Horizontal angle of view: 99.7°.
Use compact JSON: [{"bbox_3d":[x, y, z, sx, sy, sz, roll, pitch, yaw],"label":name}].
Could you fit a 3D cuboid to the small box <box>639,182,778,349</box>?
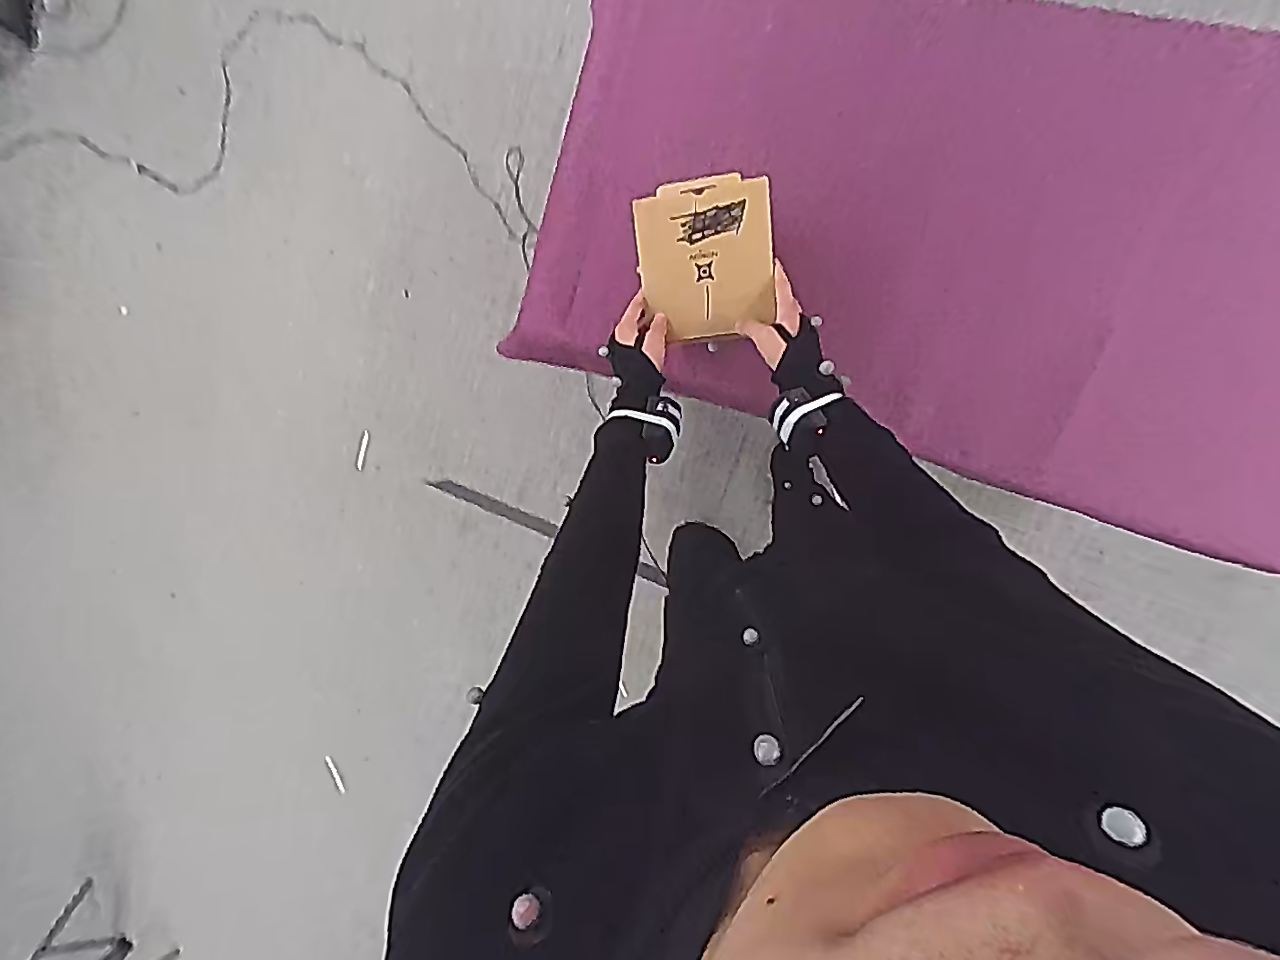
[{"bbox_3d":[0.099,-0.279,0.744,0.168,0.176,0.179,-3,102,13],"label":"small box"}]
